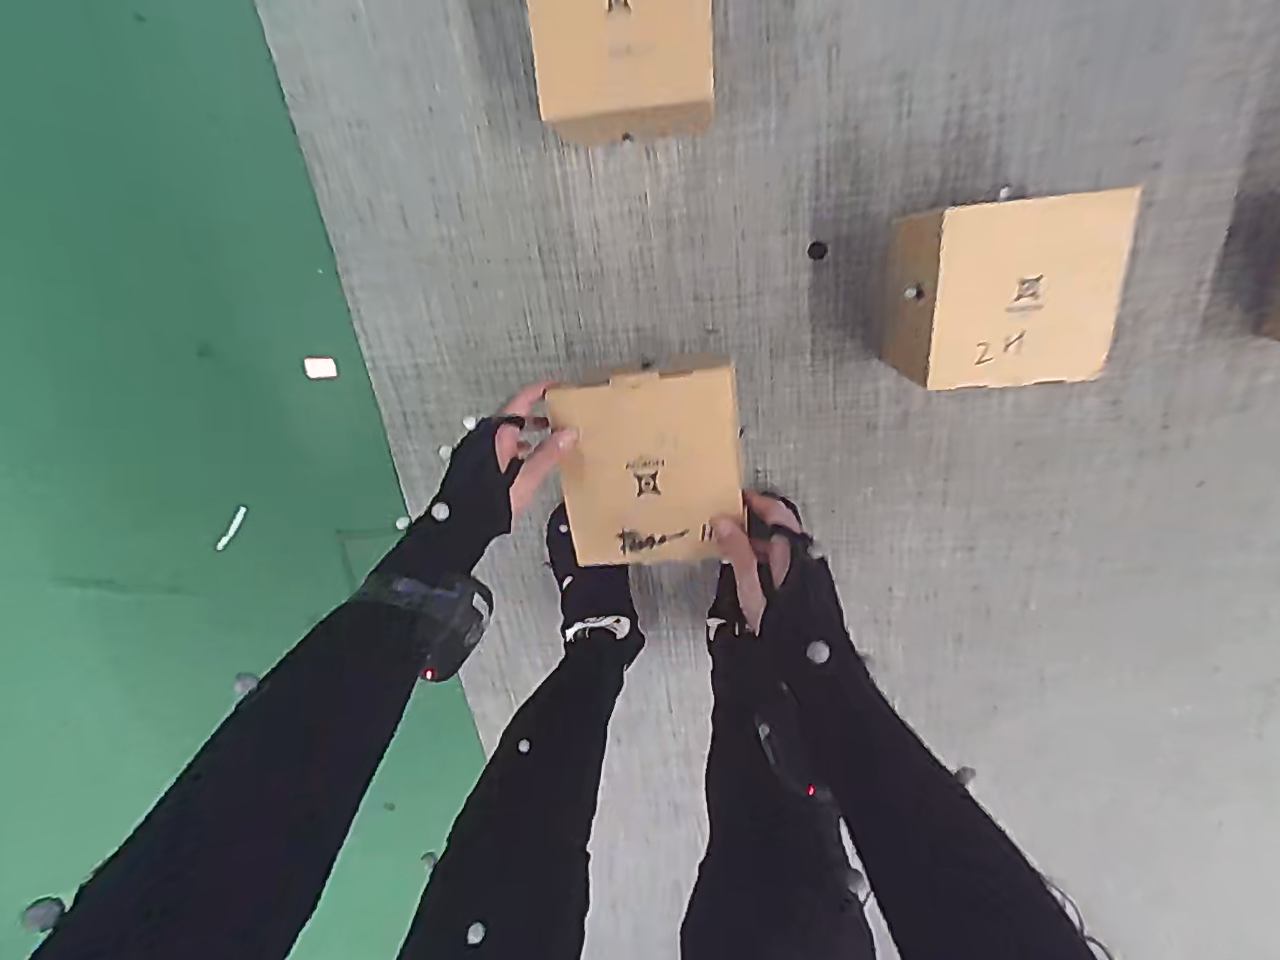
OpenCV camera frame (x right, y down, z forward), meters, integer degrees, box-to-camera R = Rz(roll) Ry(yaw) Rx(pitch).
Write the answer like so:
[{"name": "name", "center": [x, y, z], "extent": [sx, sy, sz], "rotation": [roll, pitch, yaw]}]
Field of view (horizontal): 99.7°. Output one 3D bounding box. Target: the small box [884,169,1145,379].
[{"name": "small box", "center": [0.374, -0.214, 0.582], "extent": [0.168, 0.176, 0.179], "rotation": [-2, 112, 9]}]

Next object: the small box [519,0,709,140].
[{"name": "small box", "center": [-0.017, -0.460, 0.534], "extent": [0.168, 0.176, 0.179], "rotation": [-1, 113, 9]}]

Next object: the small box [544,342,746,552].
[{"name": "small box", "center": [0.018, -0.043, 0.555], "extent": [0.168, 0.176, 0.179], "rotation": [-5, 107, 13]}]
